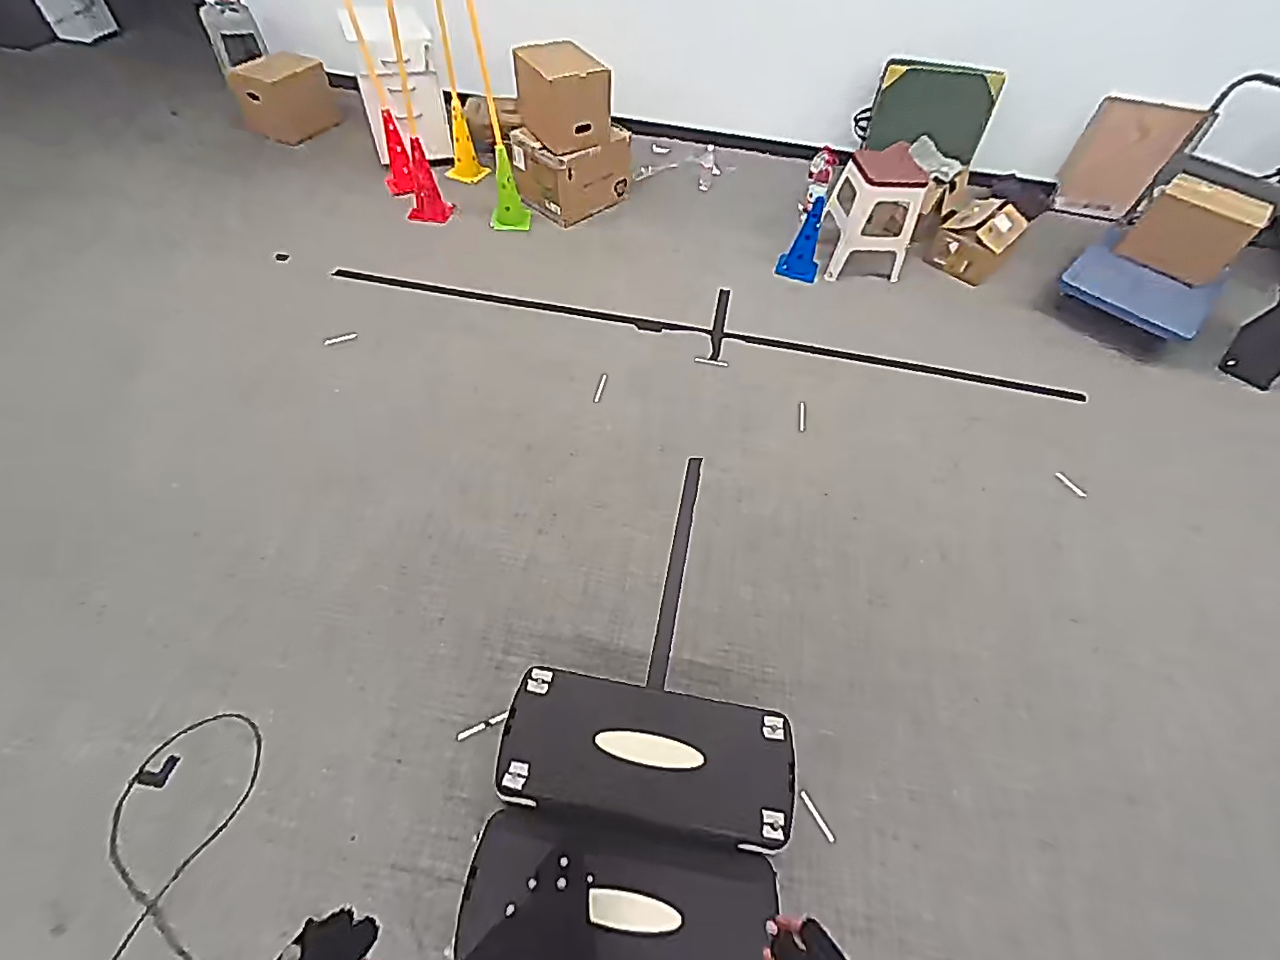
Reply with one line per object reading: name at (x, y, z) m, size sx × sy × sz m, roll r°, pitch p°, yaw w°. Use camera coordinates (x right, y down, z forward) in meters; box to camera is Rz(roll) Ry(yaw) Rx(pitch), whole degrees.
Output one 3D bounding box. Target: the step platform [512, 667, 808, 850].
step platform at (0.047, 0.661, 1.298) m, size 0.684 × 0.204 × 0.286 m, roll 10°, pitch 54°, yaw 1°
